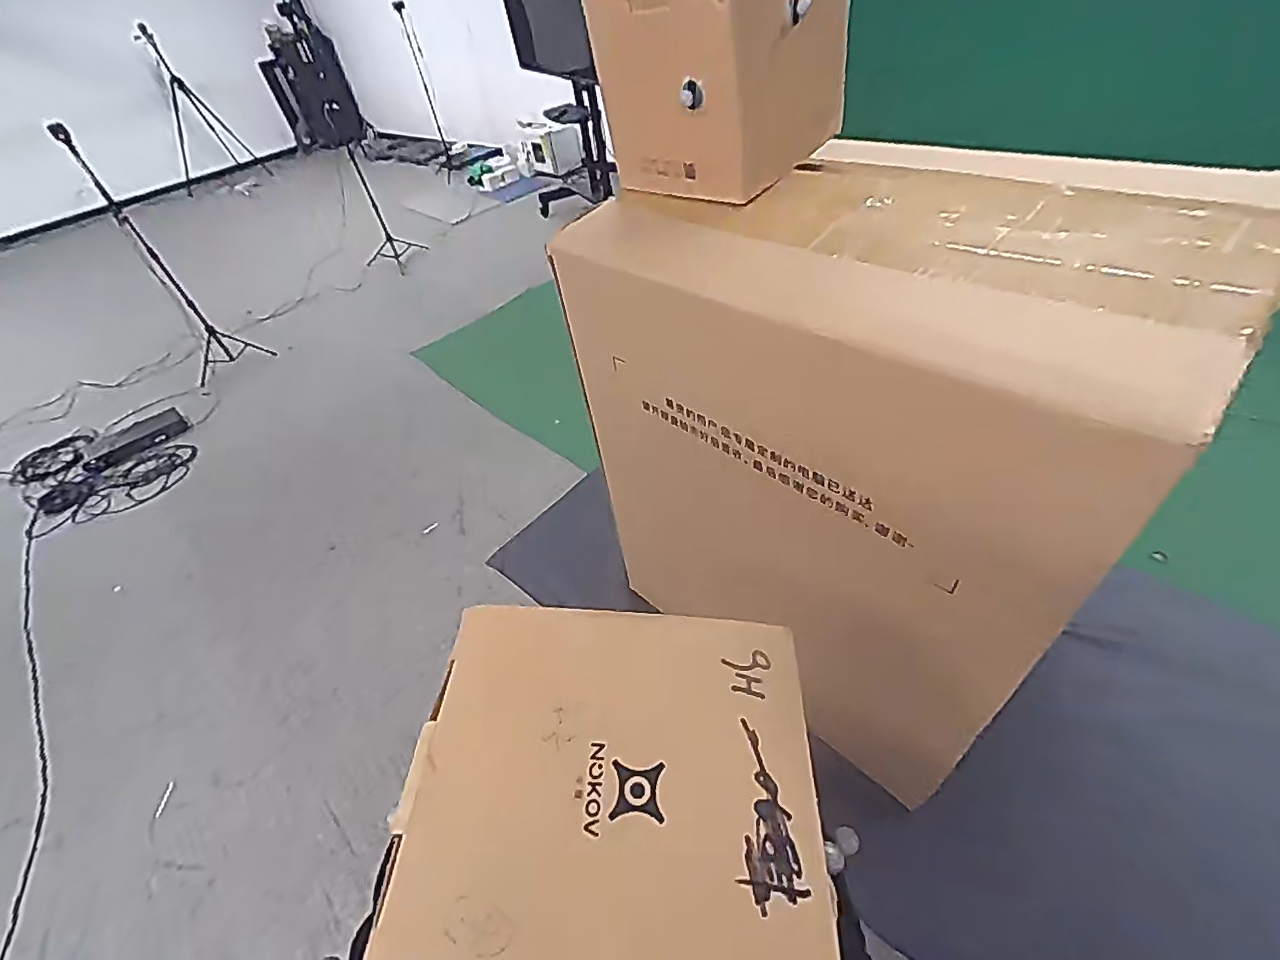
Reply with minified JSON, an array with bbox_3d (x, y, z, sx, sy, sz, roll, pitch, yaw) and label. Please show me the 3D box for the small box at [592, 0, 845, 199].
[{"bbox_3d":[0.085,-0.393,0.522,0.168,0.176,0.179,29,59,33],"label":"small box"}]
